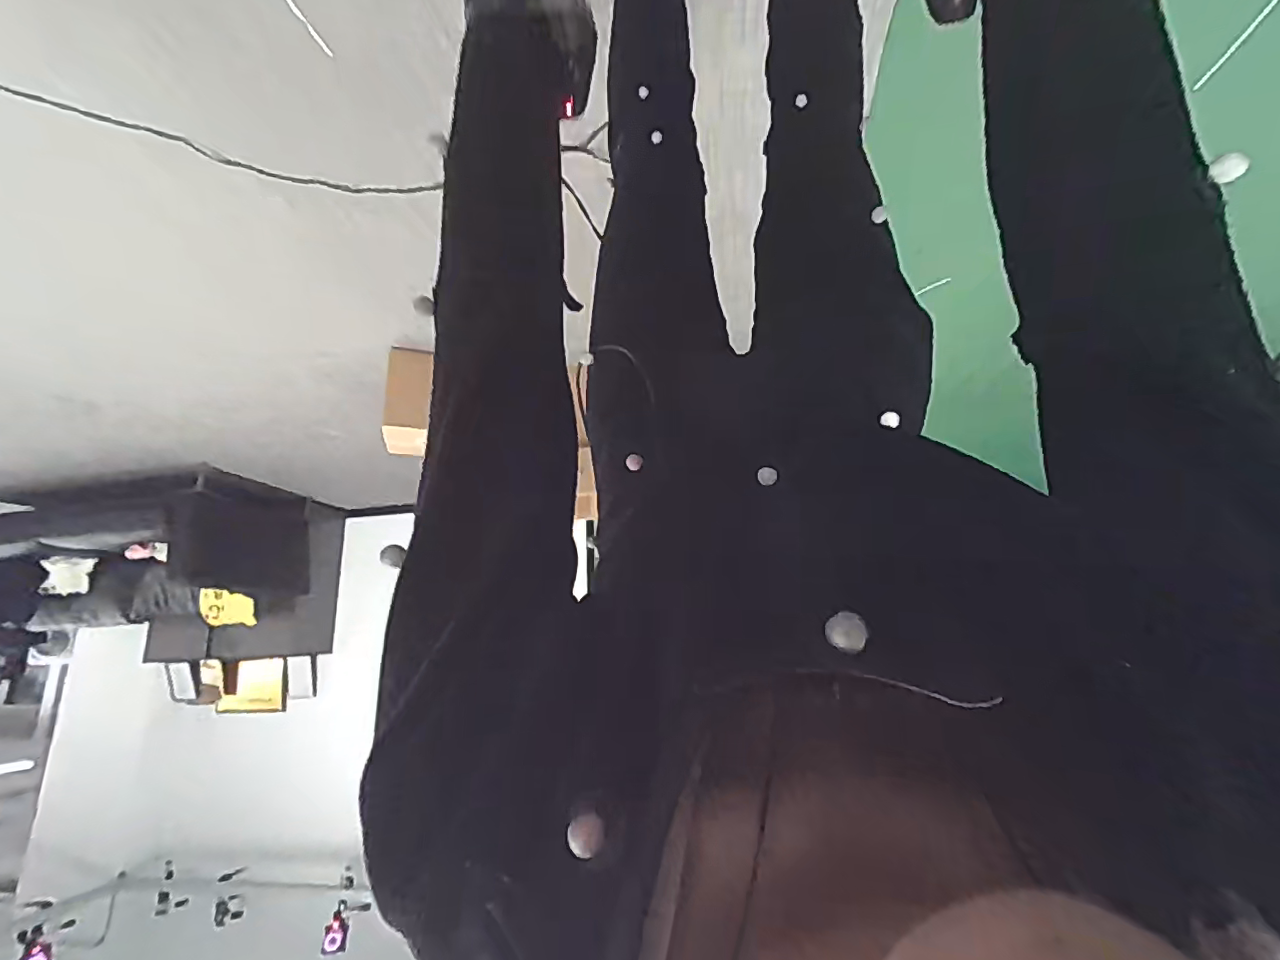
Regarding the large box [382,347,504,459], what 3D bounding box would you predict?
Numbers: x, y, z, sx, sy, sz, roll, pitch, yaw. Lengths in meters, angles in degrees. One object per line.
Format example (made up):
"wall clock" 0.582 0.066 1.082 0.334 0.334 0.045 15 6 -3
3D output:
"large box" -0.756 -0.288 2.109 0.408 0.320 0.320 5 162 -20
